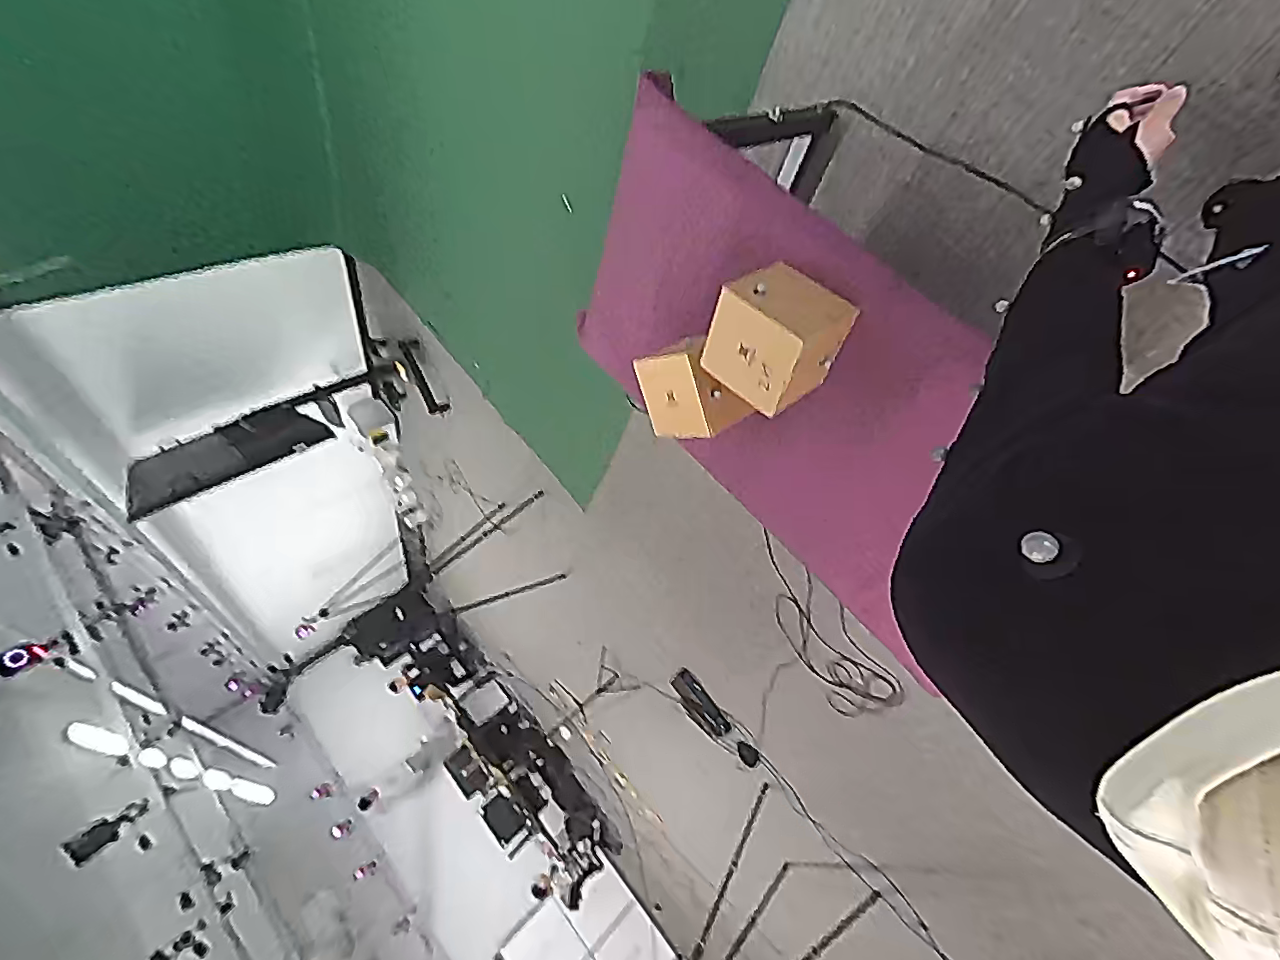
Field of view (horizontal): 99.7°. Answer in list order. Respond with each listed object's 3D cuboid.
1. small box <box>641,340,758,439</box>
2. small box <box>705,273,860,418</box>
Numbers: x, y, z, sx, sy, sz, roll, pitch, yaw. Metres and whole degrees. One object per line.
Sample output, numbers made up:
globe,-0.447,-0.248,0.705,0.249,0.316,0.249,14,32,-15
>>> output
small box,0.135,-0.200,1.164,0.168,0.176,0.179,5,122,50
small box,0.250,-0.247,0.965,0.179,0.176,0.168,42,146,22
